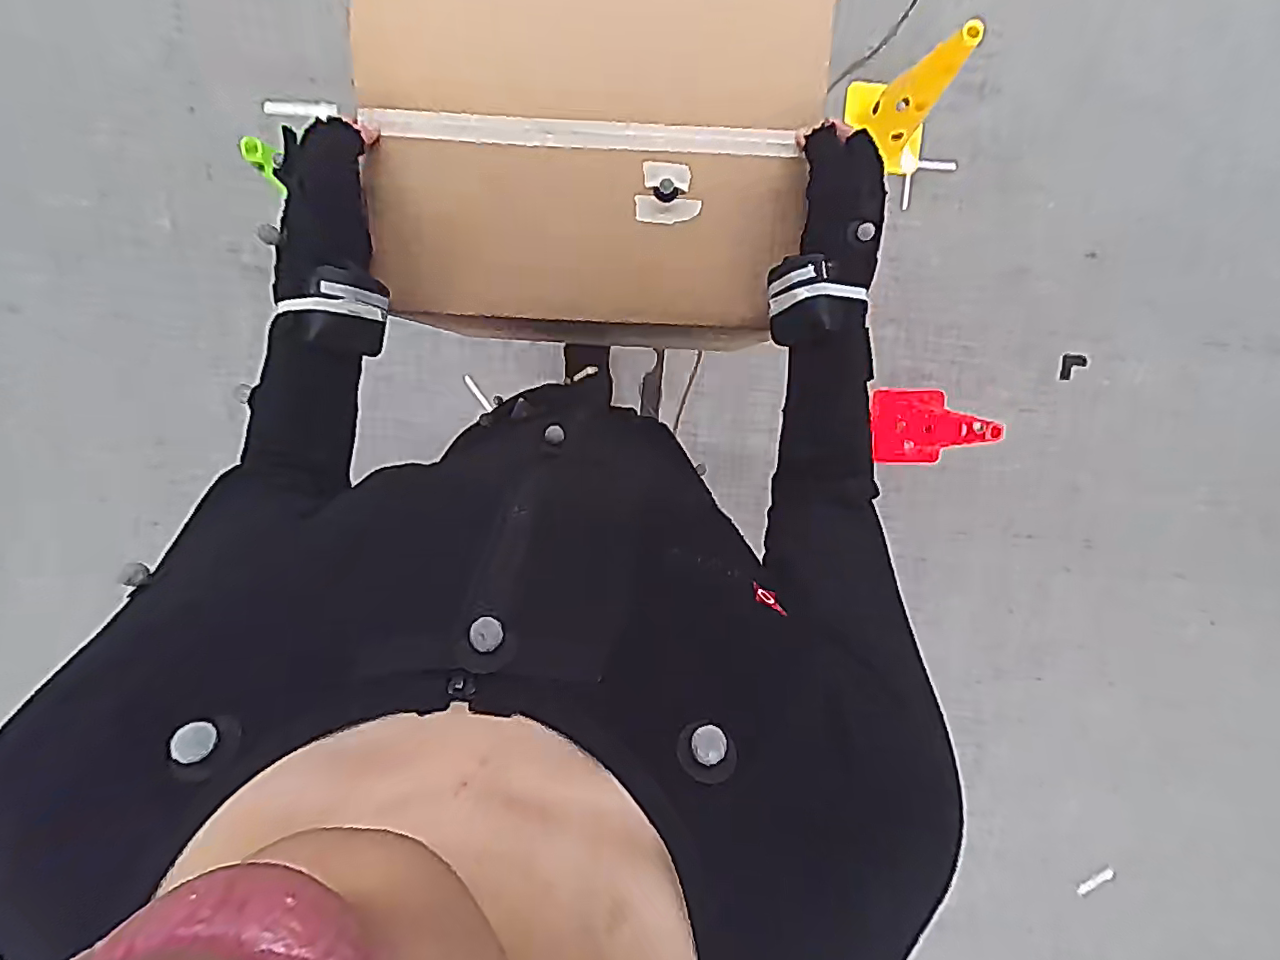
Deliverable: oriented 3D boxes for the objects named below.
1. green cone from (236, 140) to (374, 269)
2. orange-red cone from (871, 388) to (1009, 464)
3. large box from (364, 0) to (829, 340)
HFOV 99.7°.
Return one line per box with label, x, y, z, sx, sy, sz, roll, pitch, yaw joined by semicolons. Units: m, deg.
green cone;-0.721;-0.634;1.168;0.202;0.368;0.200;-33;96;4
orange-red cone;0.726;-0.126;1.277;0.198;0.360;0.199;2;96;-3
large box;-0.045;-0.338;0.623;0.408;0.320;0.320;2;100;-2
